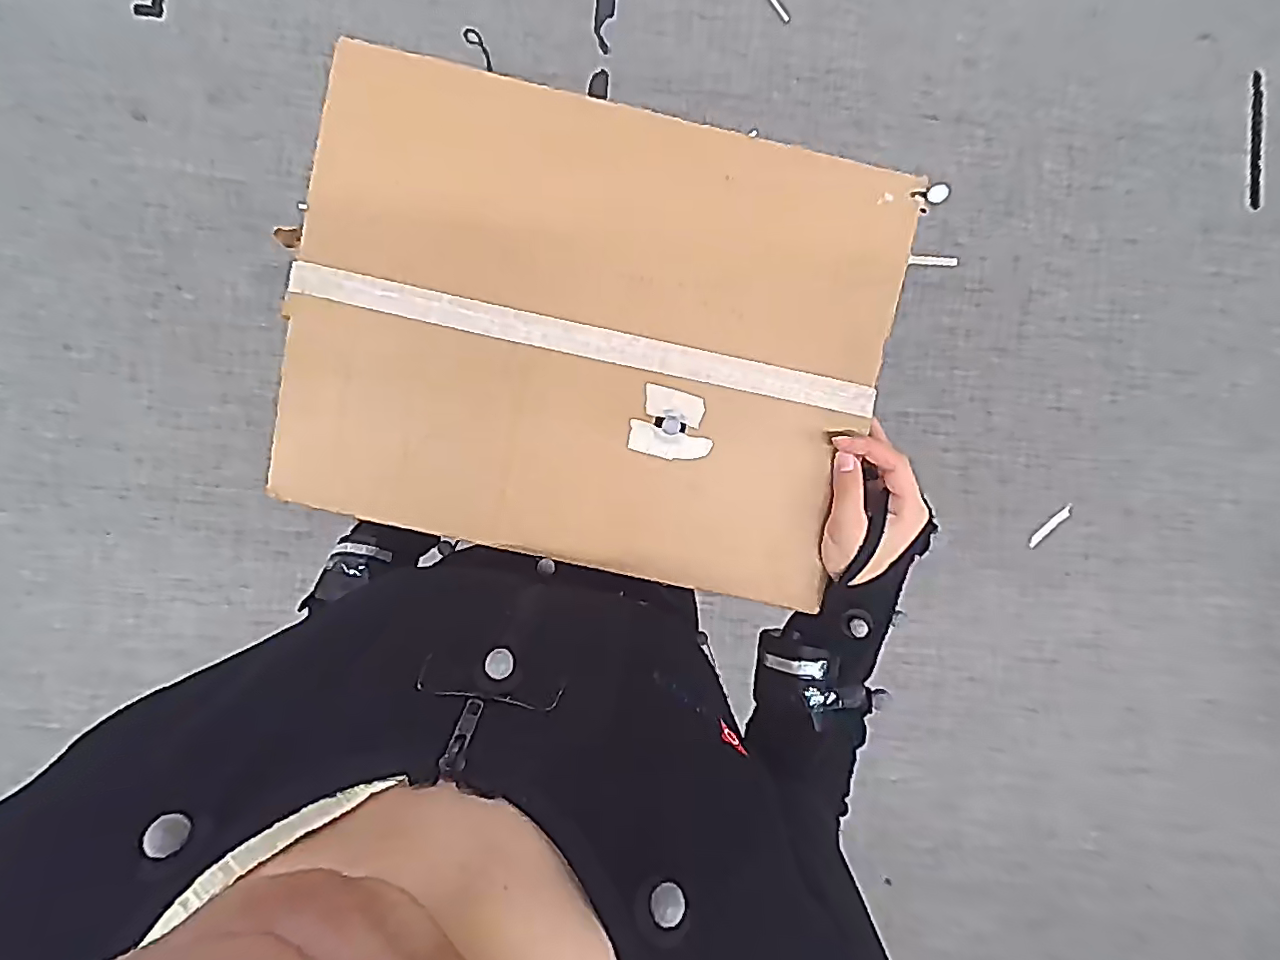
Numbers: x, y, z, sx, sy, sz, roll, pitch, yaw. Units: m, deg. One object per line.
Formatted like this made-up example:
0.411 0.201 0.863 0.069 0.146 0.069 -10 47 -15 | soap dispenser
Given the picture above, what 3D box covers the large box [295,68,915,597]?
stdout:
-0.033 -0.108 0.533 0.408 0.320 0.320 12 96 -3 | large box
